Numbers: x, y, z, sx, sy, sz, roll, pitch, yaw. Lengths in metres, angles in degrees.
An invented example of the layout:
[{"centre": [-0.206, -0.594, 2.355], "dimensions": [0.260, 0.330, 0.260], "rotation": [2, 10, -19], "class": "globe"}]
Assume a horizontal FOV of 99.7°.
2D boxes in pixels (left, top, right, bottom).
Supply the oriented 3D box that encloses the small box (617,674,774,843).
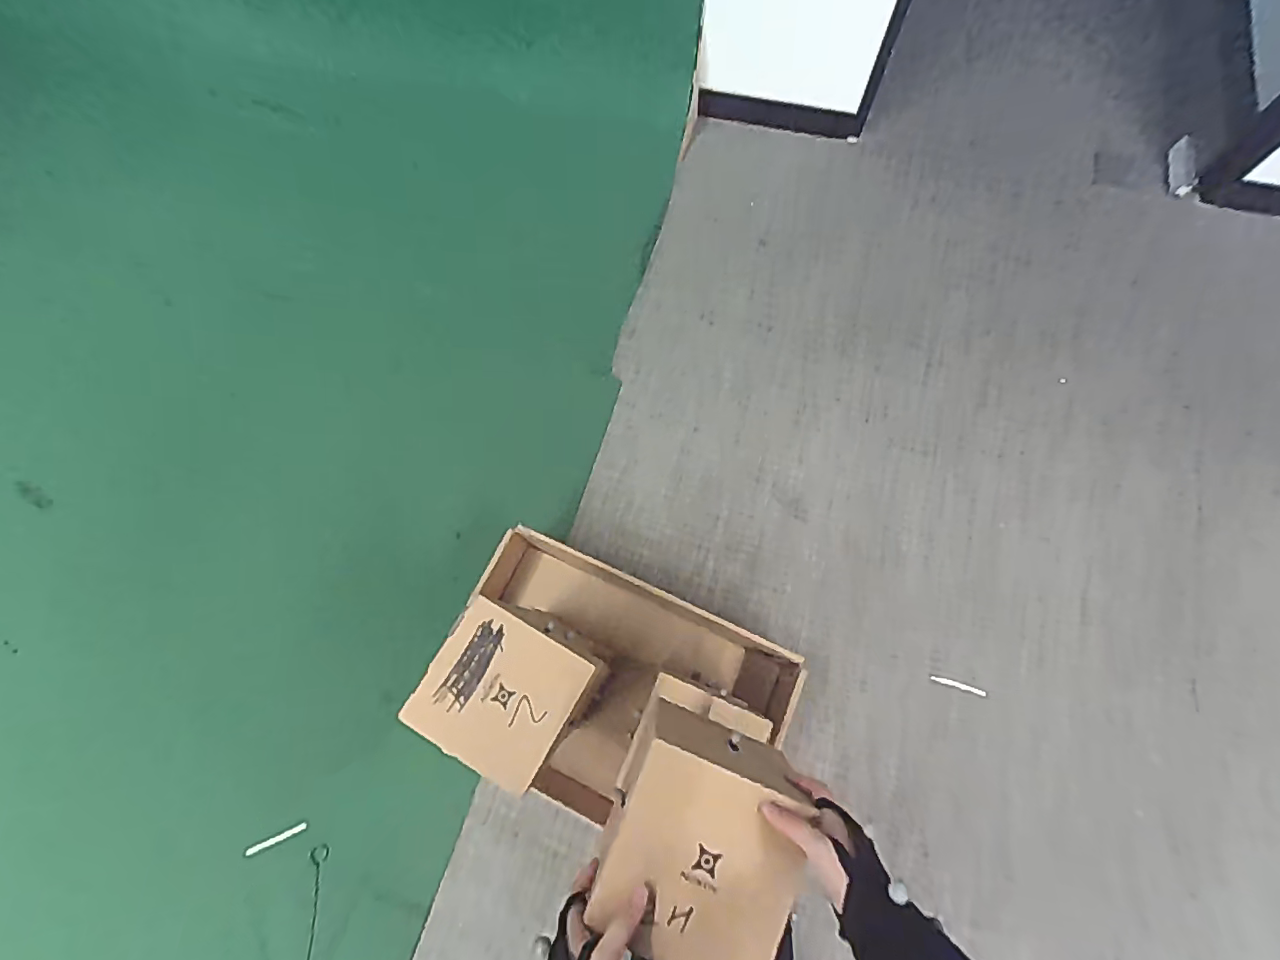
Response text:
[{"centre": [0.084, 0.407, 0.829], "dimensions": [0.179, 0.176, 0.168], "rotation": [21, 74, 11], "class": "small box"}]
